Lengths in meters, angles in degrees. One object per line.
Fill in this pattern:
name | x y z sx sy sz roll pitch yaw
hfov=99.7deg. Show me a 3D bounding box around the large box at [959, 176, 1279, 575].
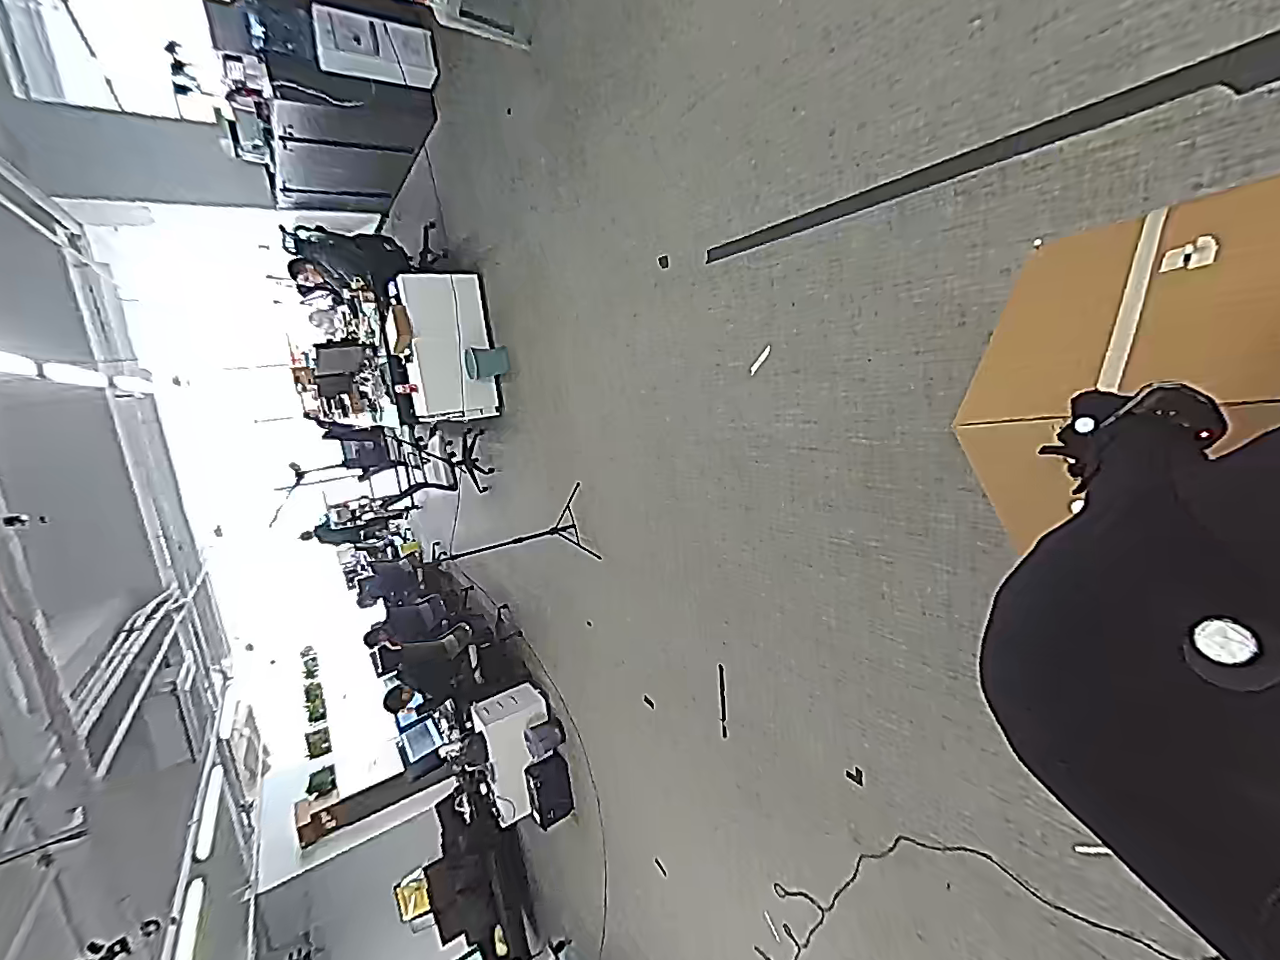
large box | 0.718 -0.127 0.751 0.320 0.408 0.320 48 156 -26
